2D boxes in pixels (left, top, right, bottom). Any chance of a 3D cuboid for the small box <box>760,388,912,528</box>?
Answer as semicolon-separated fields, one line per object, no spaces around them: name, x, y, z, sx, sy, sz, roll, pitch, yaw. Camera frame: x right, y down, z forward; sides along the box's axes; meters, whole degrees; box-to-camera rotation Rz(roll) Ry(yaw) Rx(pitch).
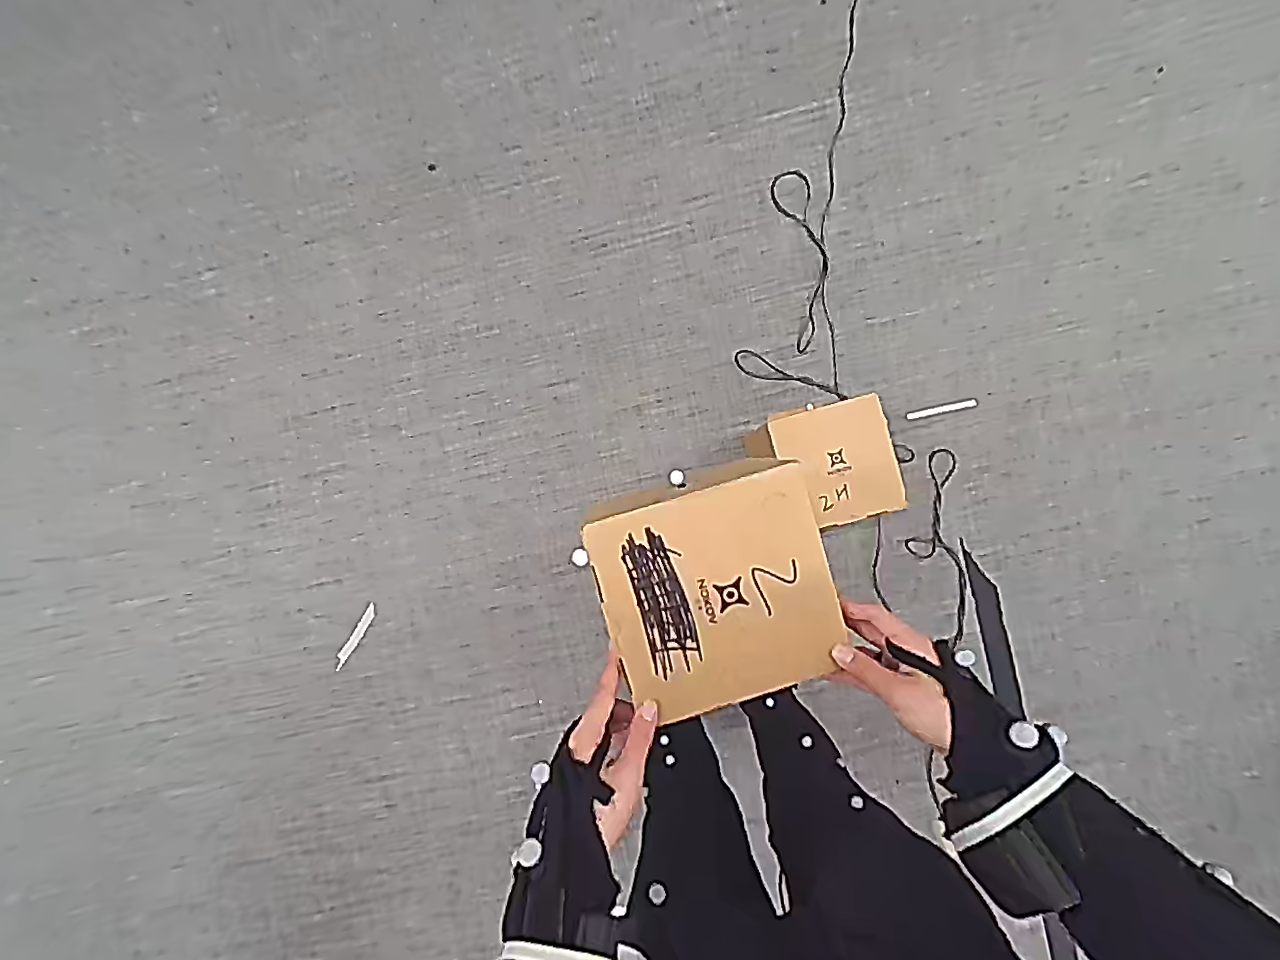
small box;0.299;-0.031;0.864;0.168;0.176;0.179;-15;89;5

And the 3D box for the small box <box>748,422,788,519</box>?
small box;0.310;-0.030;1.029;0.168;0.176;0.179;-13;90;4
